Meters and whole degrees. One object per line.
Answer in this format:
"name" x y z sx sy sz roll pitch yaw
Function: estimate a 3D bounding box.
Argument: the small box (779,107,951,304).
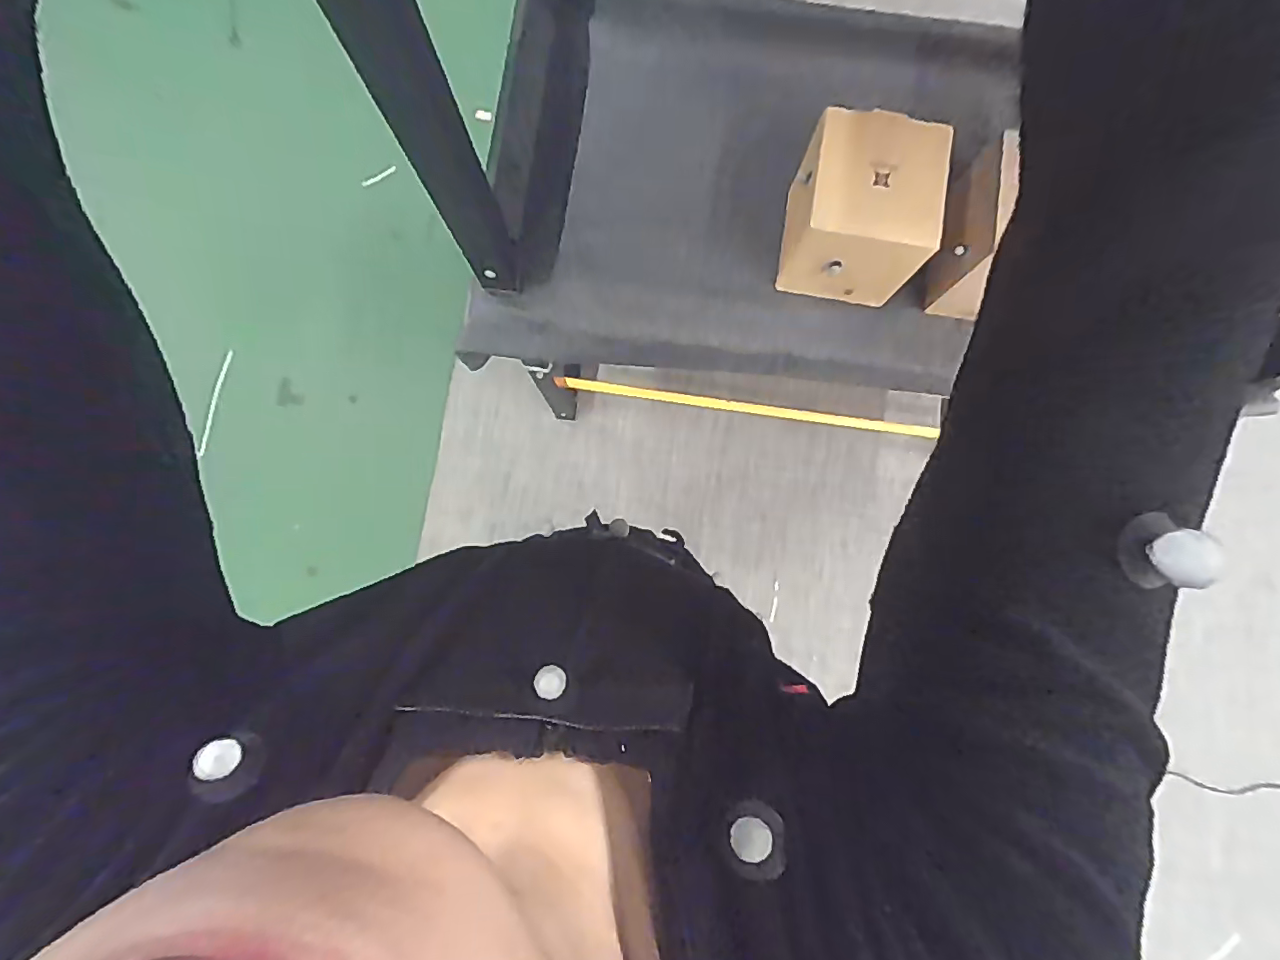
"small box" 0.302 -0.371 0.760 0.168 0.176 0.179 10 82 1
